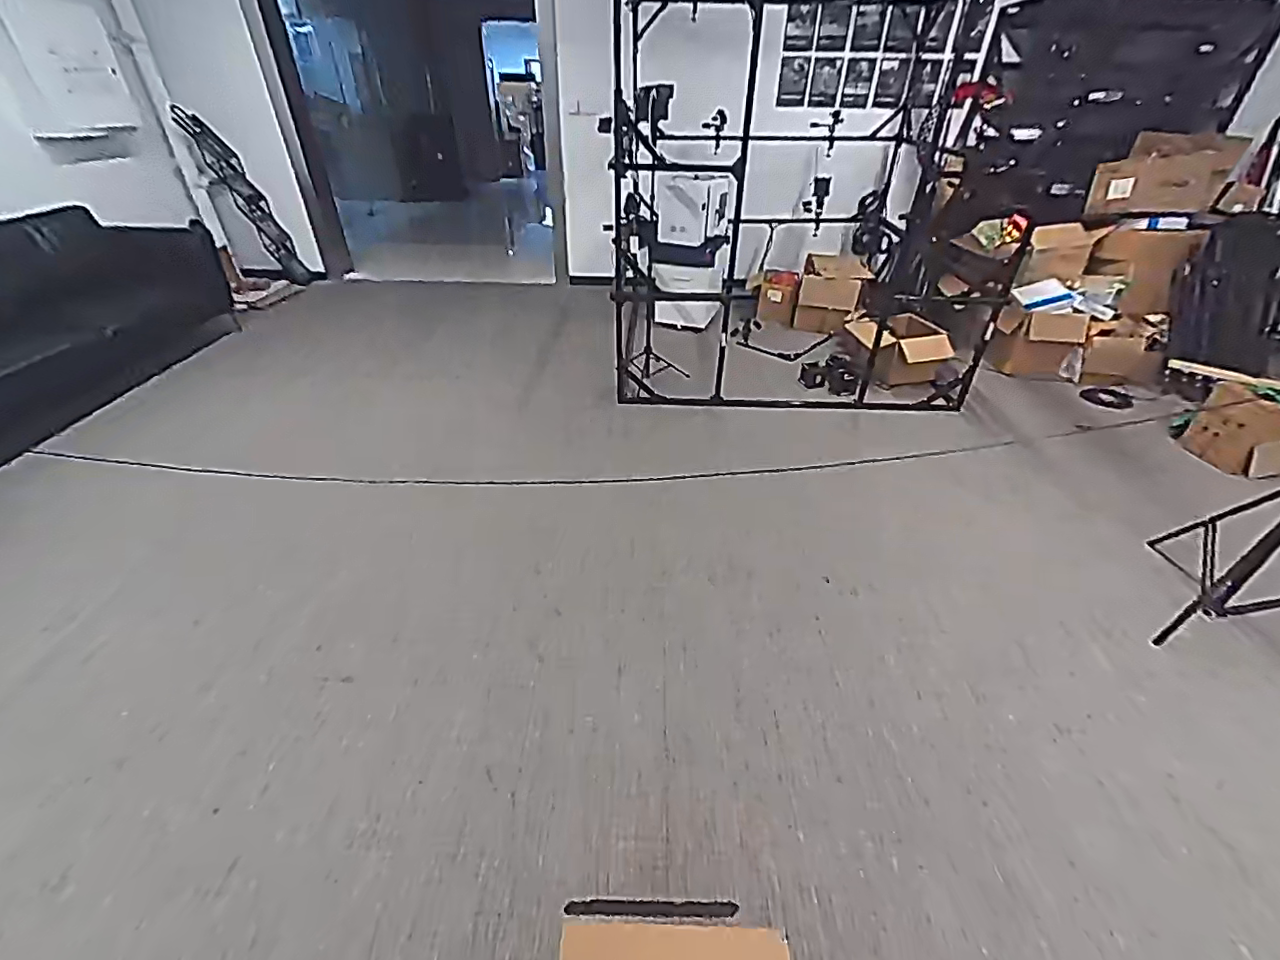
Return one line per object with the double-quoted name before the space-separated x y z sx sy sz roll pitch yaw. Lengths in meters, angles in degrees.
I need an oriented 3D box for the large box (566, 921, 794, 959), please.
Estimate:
"large box" 0.064 1.017 0.941 0.408 0.320 0.320 2 36 1
